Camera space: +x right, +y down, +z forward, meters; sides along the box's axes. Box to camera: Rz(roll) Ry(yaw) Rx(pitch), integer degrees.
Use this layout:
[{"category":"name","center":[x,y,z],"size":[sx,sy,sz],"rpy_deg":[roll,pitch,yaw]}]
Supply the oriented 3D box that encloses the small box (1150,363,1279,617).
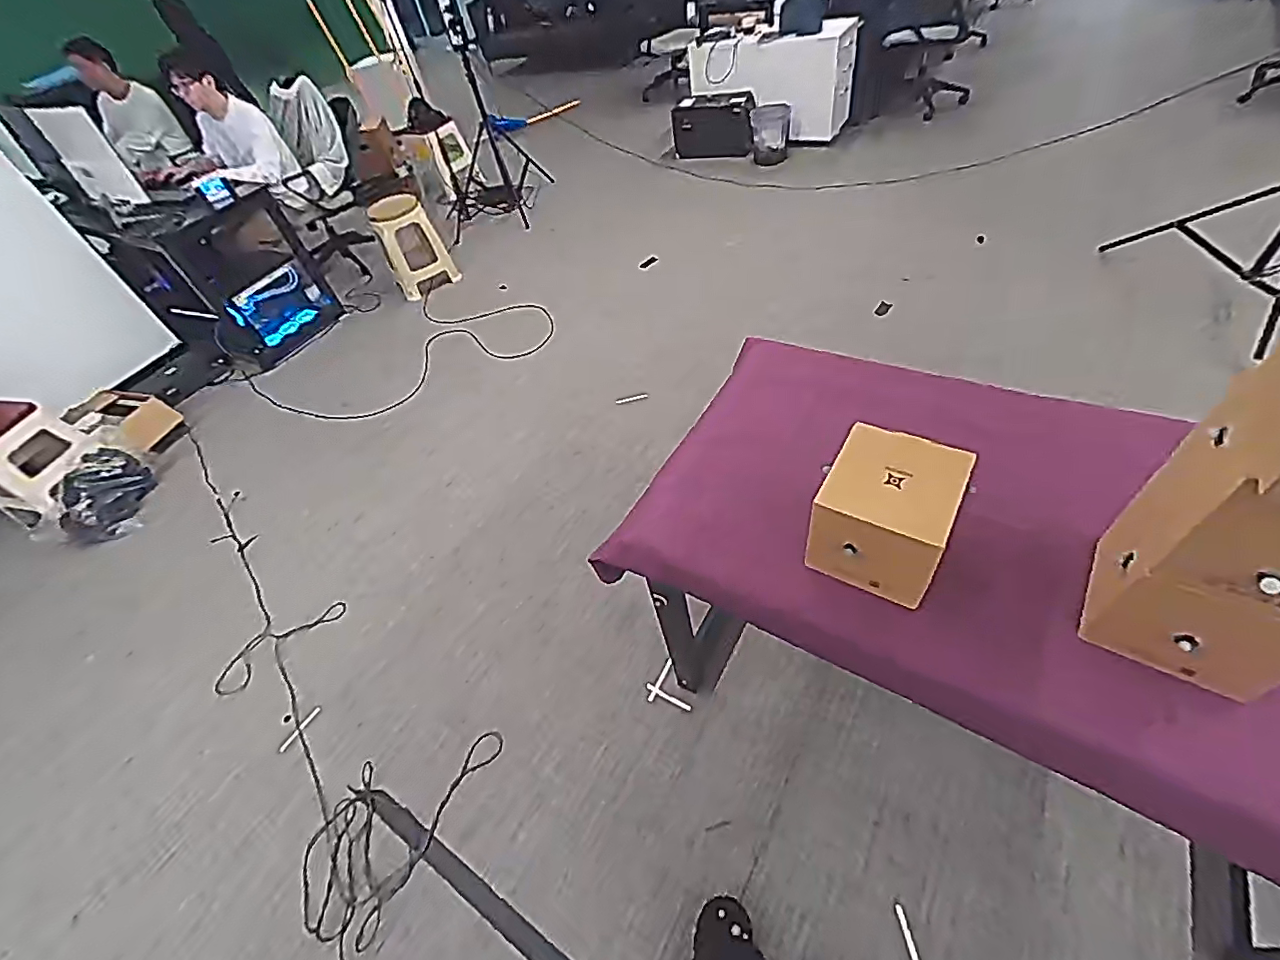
[{"category":"small box","center":[0.656,0.018,0.536],"size":[0.168,0.176,0.179],"rpy_deg":[23,58,28]}]

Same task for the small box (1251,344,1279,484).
[{"category":"small box","center":[0.621,-0.071,0.403],"size":[0.168,0.176,0.179],"rpy_deg":[20,56,26]}]

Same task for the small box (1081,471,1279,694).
[{"category":"small box","center":[0.678,0.126,0.658],"size":[0.168,0.176,0.179],"rpy_deg":[23,58,28]}]

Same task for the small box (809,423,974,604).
[{"category":"small box","center":[0.357,0.050,0.792],"size":[0.168,0.176,0.179],"rpy_deg":[21,56,27]}]
